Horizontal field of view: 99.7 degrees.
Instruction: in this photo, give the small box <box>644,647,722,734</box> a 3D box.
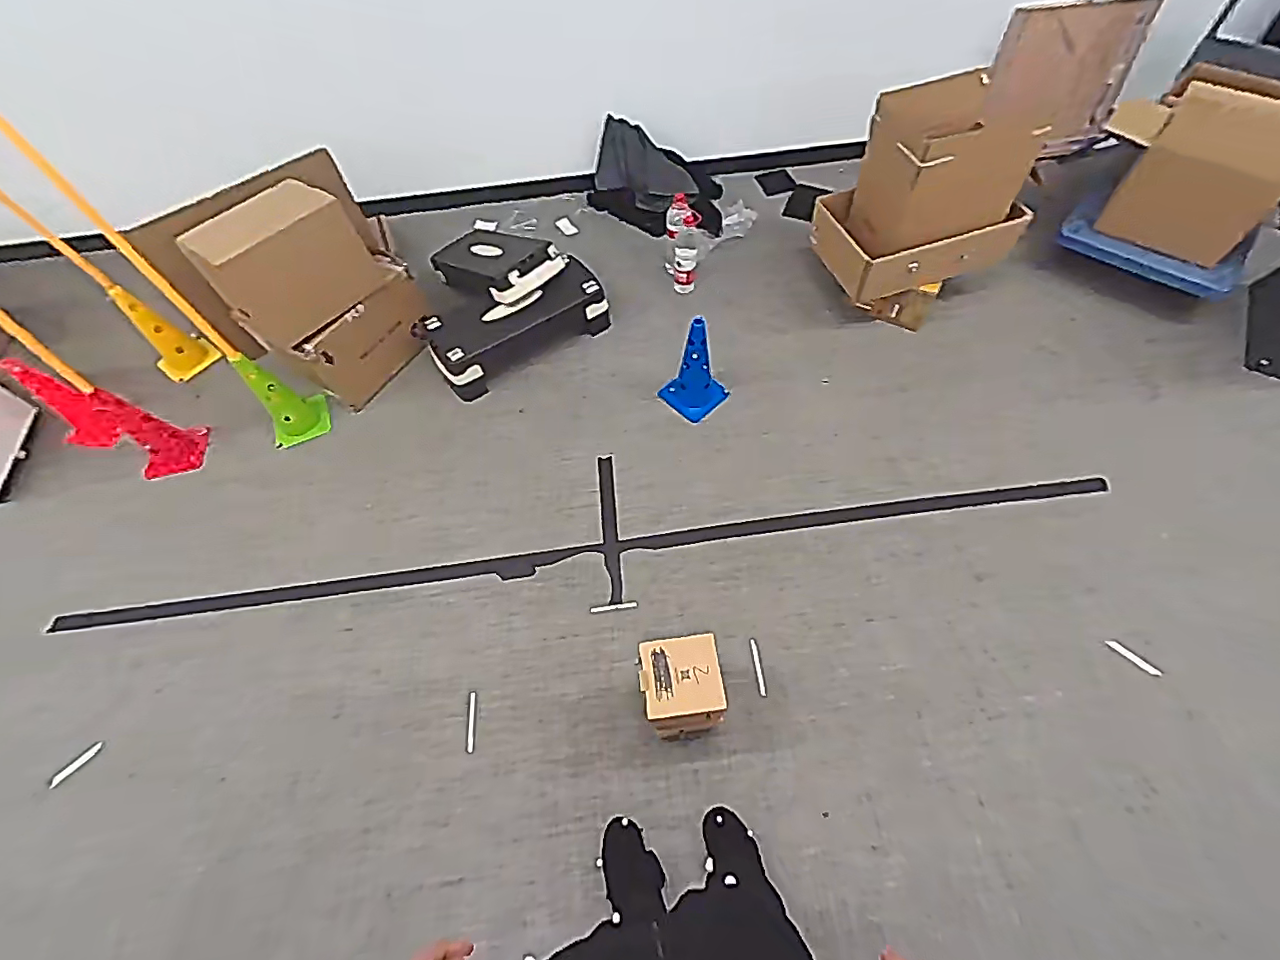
[{"bbox_3d":[0.110,0.552,1.403,0.168,0.176,0.179,-10,60,-2],"label":"small box"}]
